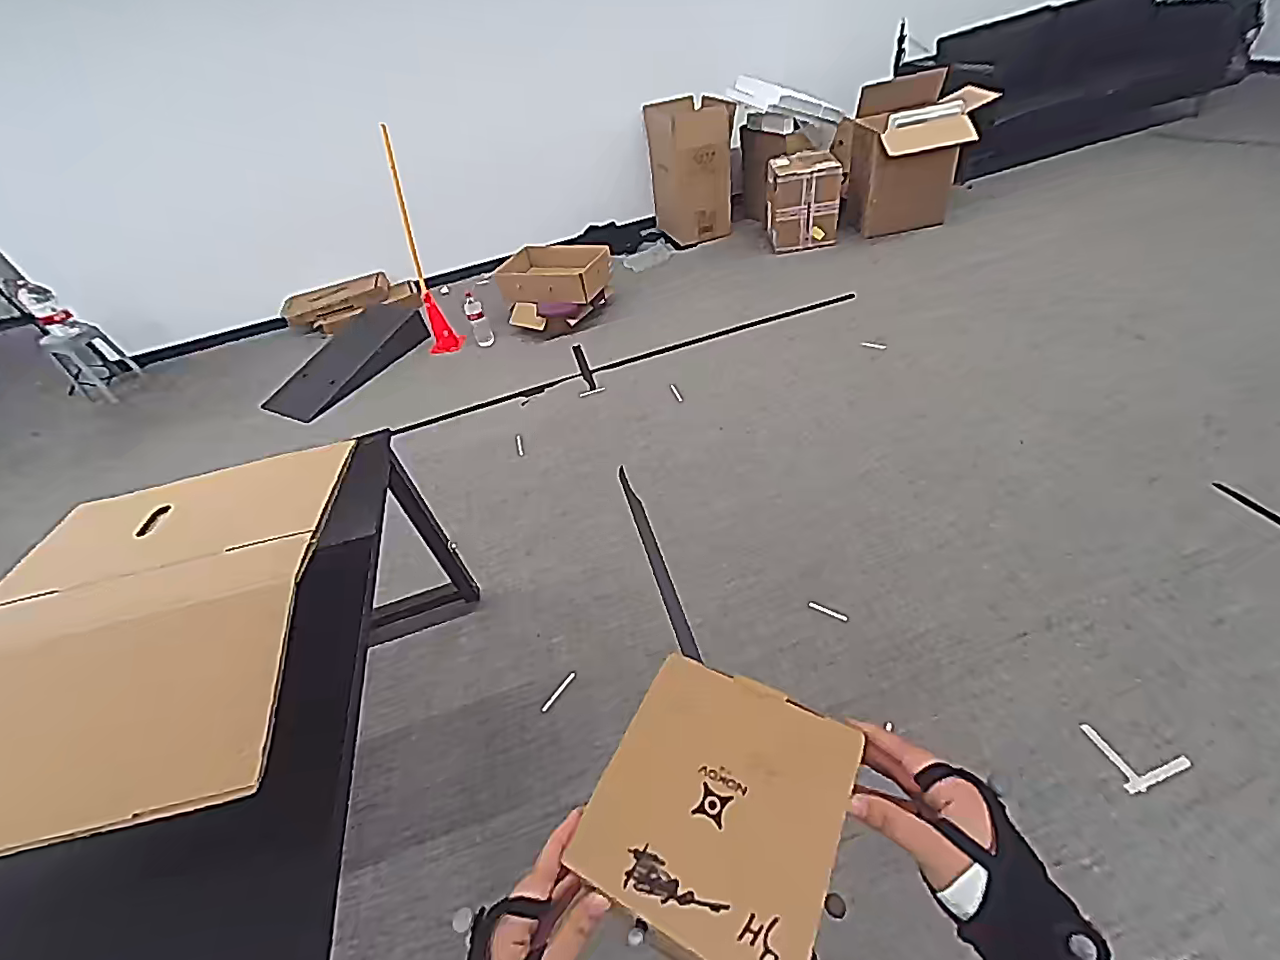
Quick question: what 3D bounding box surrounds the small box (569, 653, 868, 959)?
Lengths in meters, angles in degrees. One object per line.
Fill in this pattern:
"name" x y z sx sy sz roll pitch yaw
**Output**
"small box" 0.072 0.283 0.439 0.168 0.176 0.179 14 46 29
